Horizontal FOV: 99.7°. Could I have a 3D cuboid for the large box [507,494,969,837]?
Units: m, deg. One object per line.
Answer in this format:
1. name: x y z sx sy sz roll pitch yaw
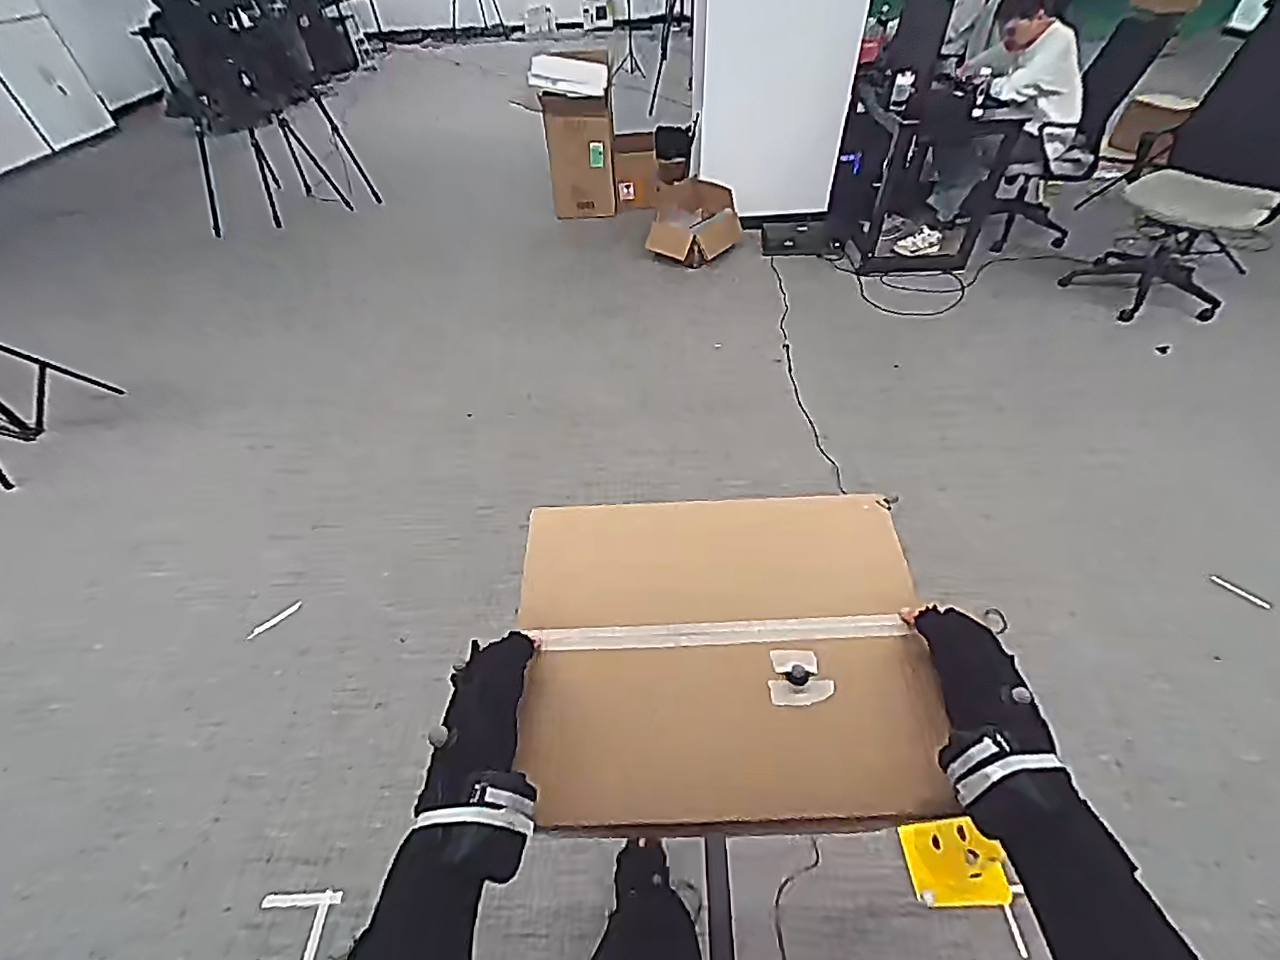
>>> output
1. large box: 0.082 0.238 0.664 0.408 0.320 0.320 -3 55 1
